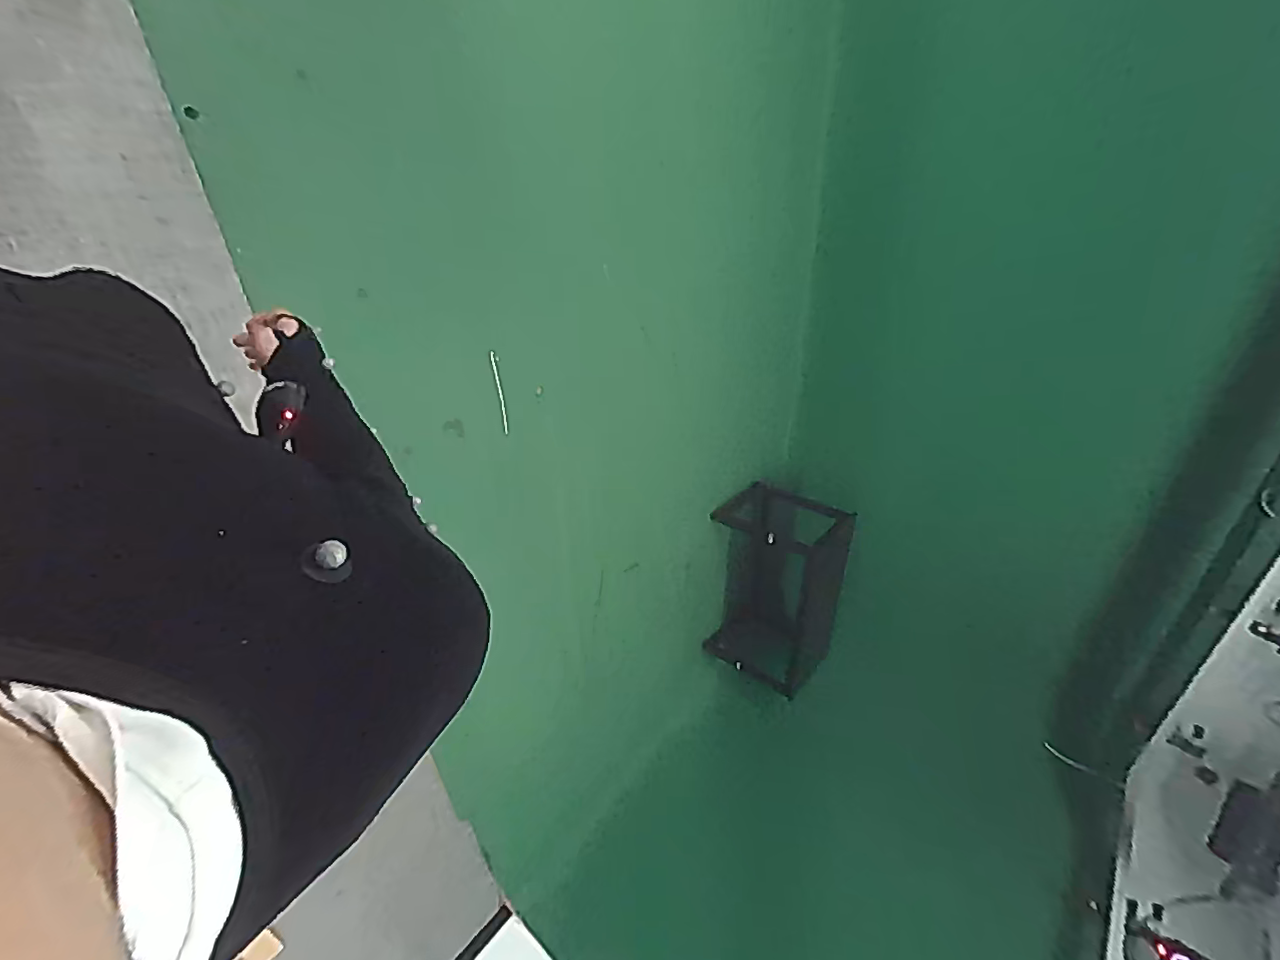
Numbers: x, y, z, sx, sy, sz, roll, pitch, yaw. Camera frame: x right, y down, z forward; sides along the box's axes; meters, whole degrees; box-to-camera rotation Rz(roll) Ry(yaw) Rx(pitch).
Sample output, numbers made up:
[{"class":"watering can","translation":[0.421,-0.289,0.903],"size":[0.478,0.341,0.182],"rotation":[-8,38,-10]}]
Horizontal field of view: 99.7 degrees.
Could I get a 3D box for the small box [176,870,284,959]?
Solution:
[{"class":"small box","translation":[-1.140,1.243,1.507],"size":[0.168,0.176,0.179],"rotation":[-35,134,-39]}]
